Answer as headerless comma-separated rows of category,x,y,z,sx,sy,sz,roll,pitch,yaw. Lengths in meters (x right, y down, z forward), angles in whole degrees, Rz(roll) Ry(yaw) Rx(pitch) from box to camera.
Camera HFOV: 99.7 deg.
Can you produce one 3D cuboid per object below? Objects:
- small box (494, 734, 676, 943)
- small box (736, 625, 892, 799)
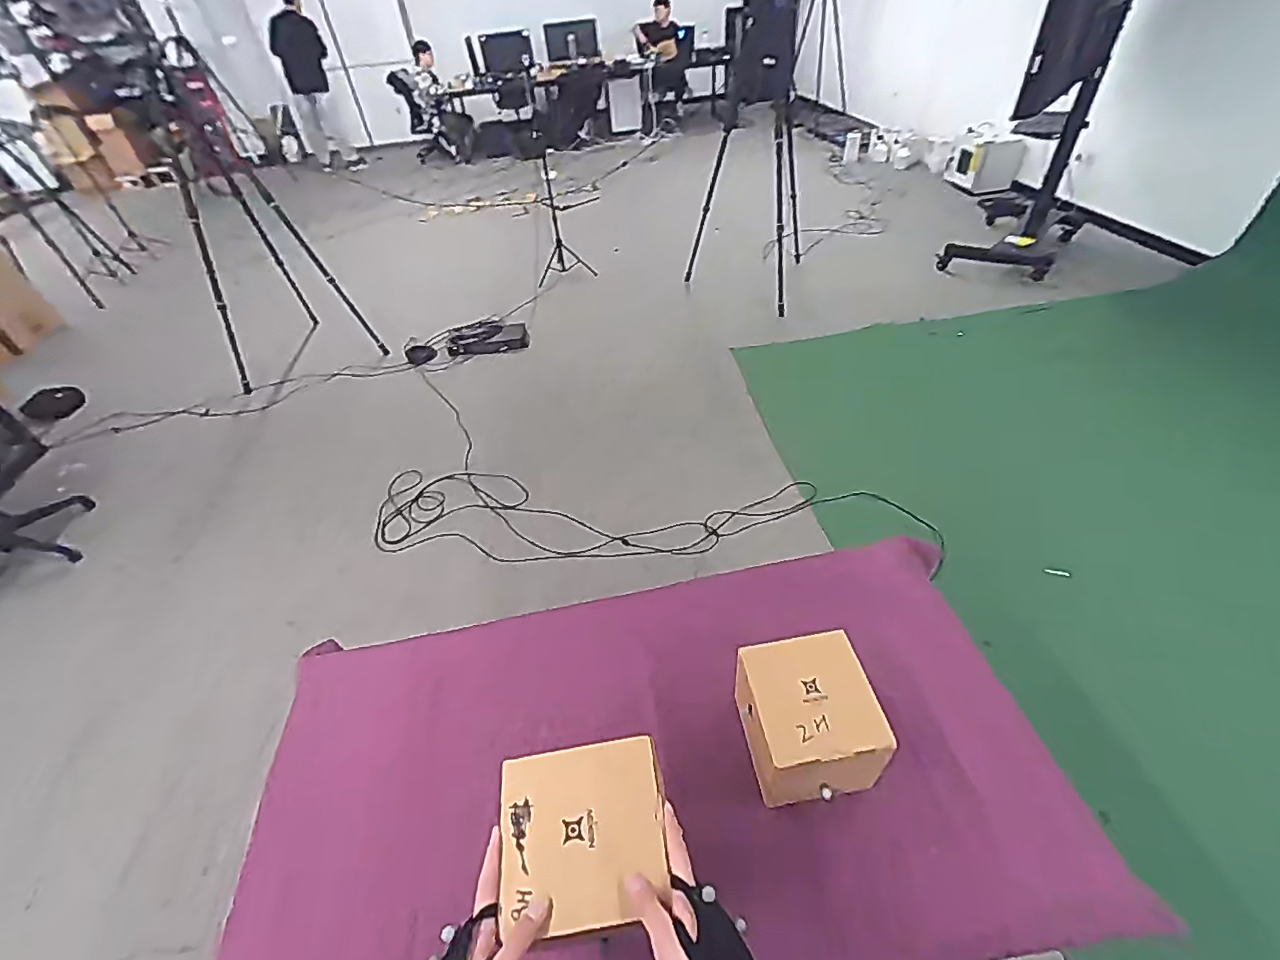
small box,-0.055,0.414,0.624,0.179,0.176,0.168,-8,47,-1
small box,0.245,0.349,0.815,0.168,0.176,0.179,-9,44,-2
